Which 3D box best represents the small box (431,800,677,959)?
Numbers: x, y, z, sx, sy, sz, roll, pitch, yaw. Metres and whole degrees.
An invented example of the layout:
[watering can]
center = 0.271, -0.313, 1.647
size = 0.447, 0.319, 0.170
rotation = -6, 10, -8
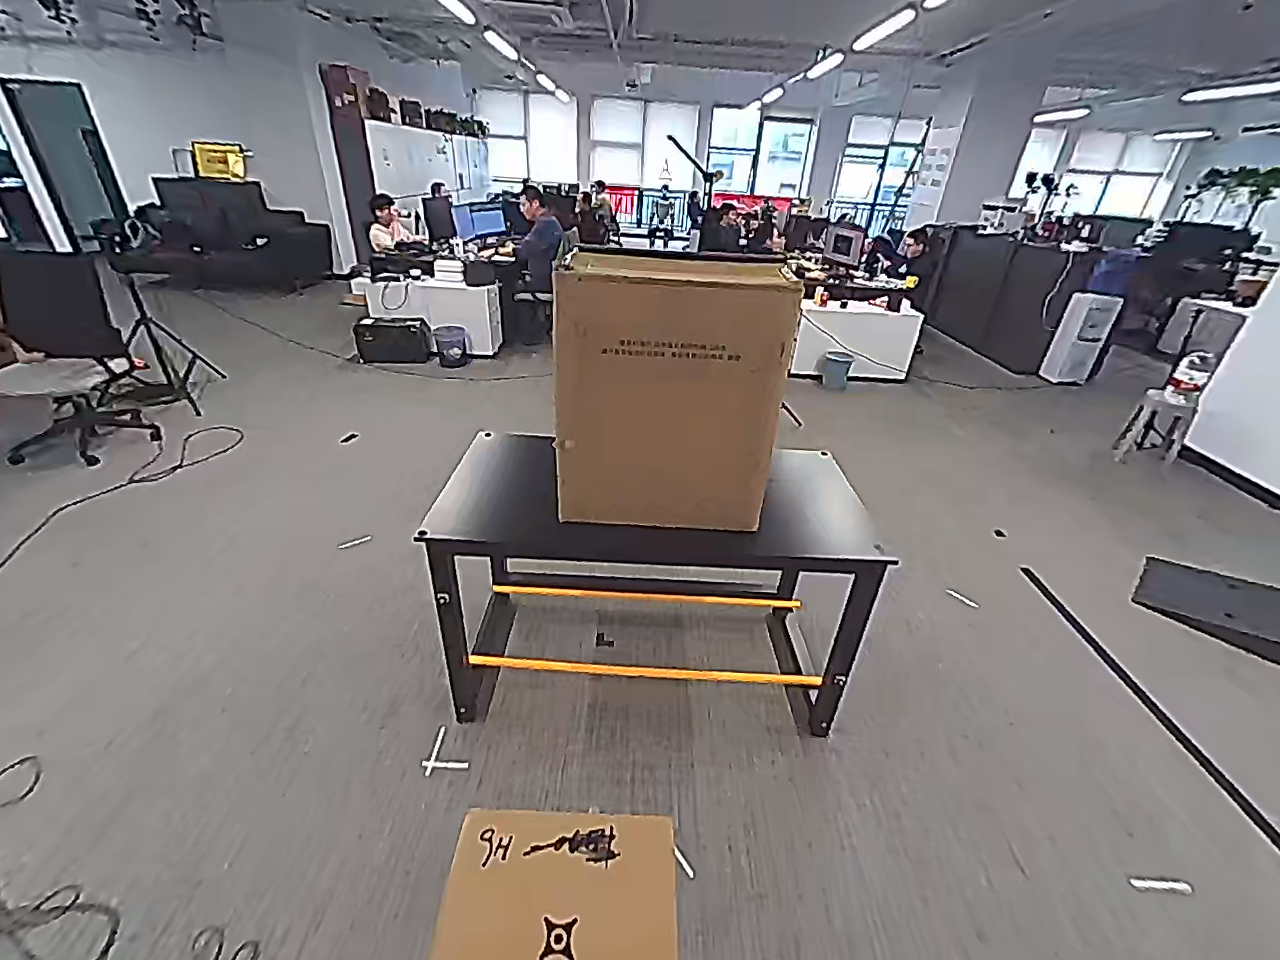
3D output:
[small box]
center = -0.060, 0.375, 0.413
size = 0.168, 0.176, 0.179
rotation = 3, 38, -1
